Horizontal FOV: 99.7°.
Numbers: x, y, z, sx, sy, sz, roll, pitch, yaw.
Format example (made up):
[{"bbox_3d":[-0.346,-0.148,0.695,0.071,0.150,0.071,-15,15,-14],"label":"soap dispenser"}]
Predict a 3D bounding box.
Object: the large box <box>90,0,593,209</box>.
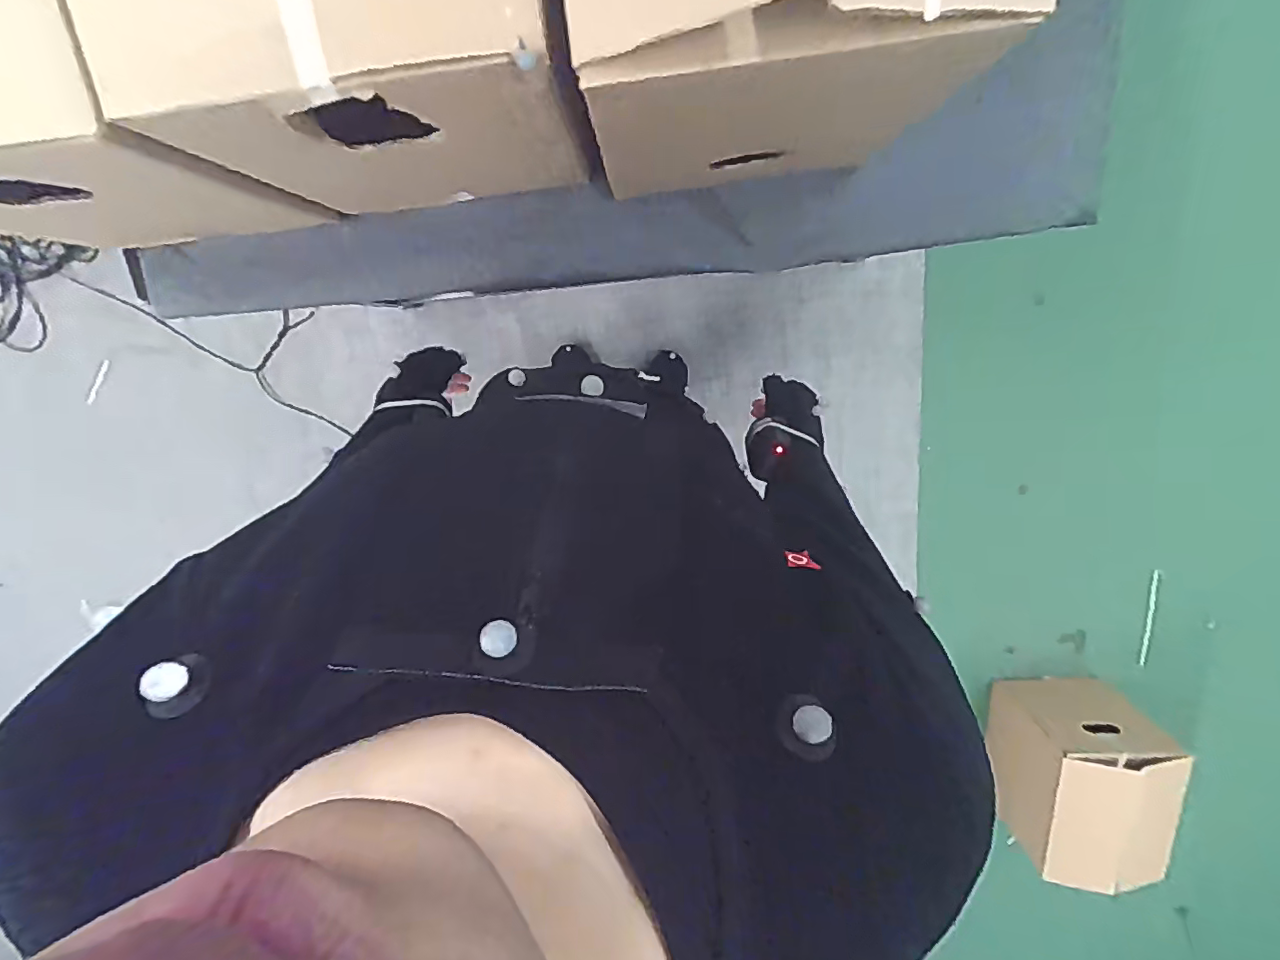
[{"bbox_3d":[-0.231,-0.498,0.464,0.320,0.320,0.408,-6,105,4],"label":"large box"}]
